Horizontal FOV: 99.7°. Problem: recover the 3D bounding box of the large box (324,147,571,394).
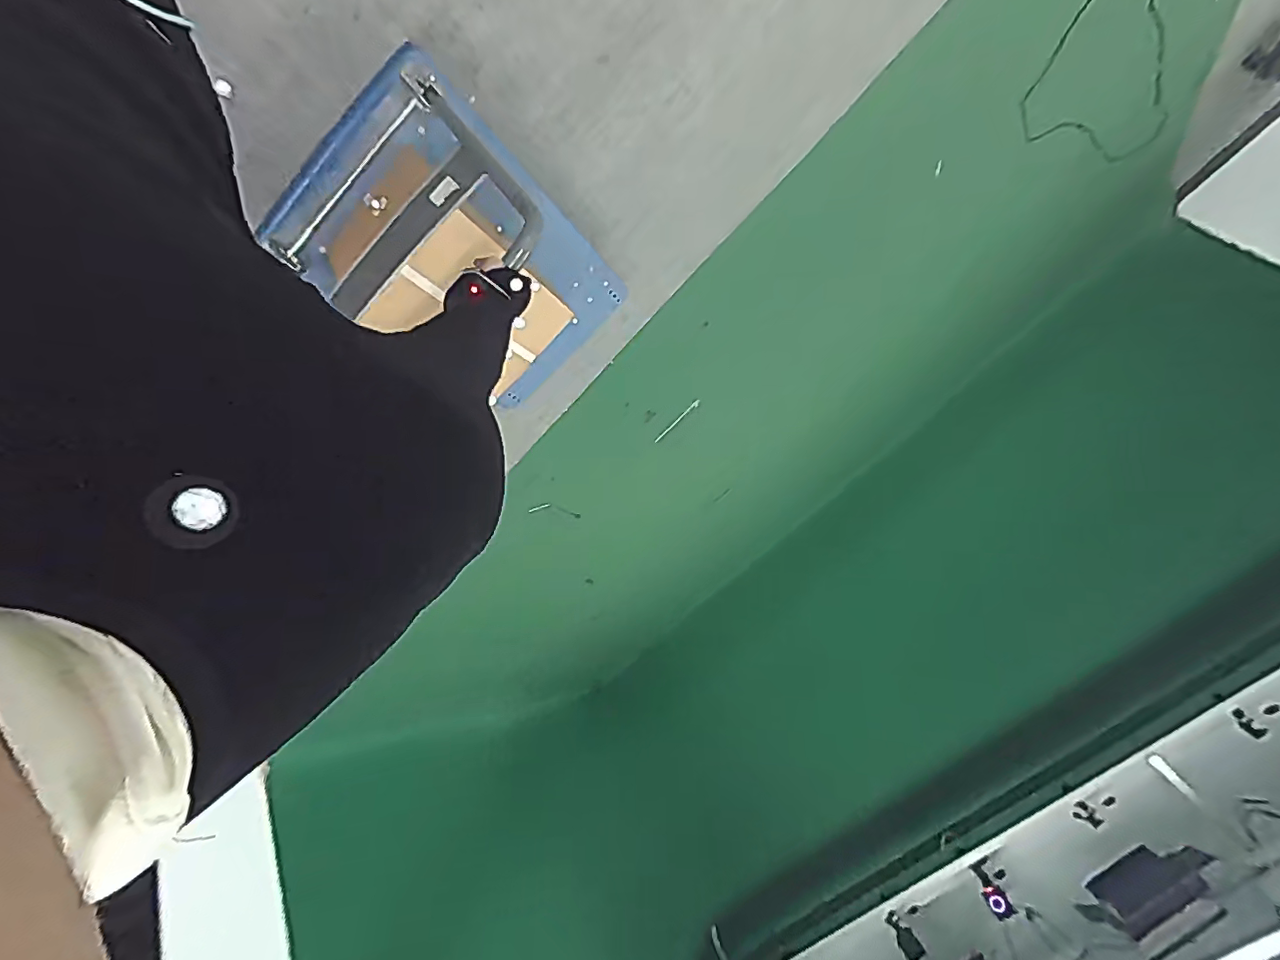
[{"bbox_3d":[-0.451,-0.479,1.292,0.320,0.320,0.408,-42,149,12],"label":"large box"}]
